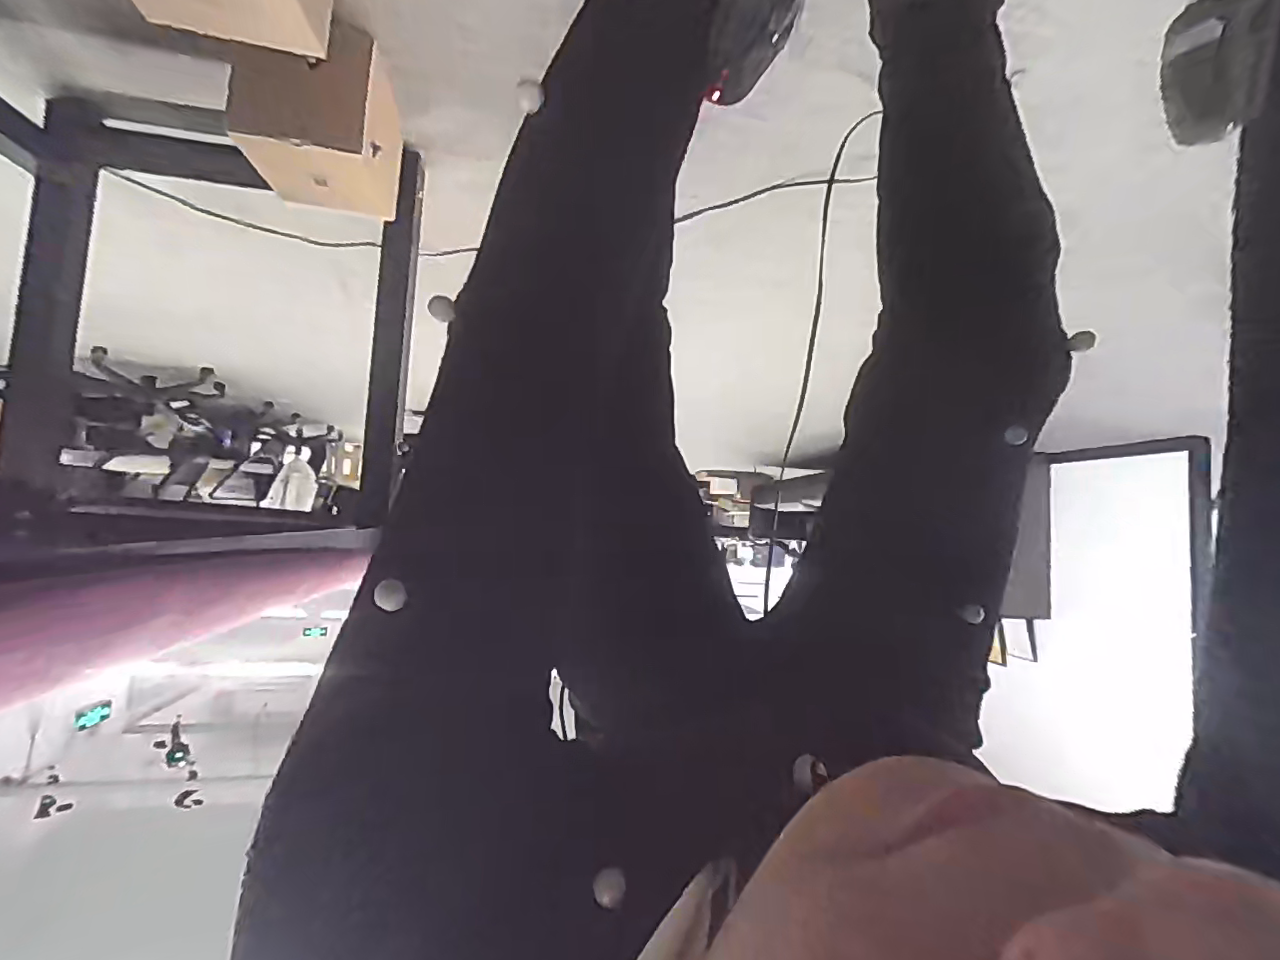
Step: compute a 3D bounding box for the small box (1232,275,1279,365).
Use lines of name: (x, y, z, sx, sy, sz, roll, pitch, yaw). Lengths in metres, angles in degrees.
small box: (1.454, -0.359, 1.170, 0.168, 0.176, 0.179, 4, 175, -10)

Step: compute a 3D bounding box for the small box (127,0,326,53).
small box: (-0.389, -0.535, 0.468, 0.168, 0.176, 0.179, 5, 176, -10)

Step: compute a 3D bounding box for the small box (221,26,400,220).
small box: (-0.460, -0.516, 0.786, 0.168, 0.176, 0.179, 4, 175, -10)
